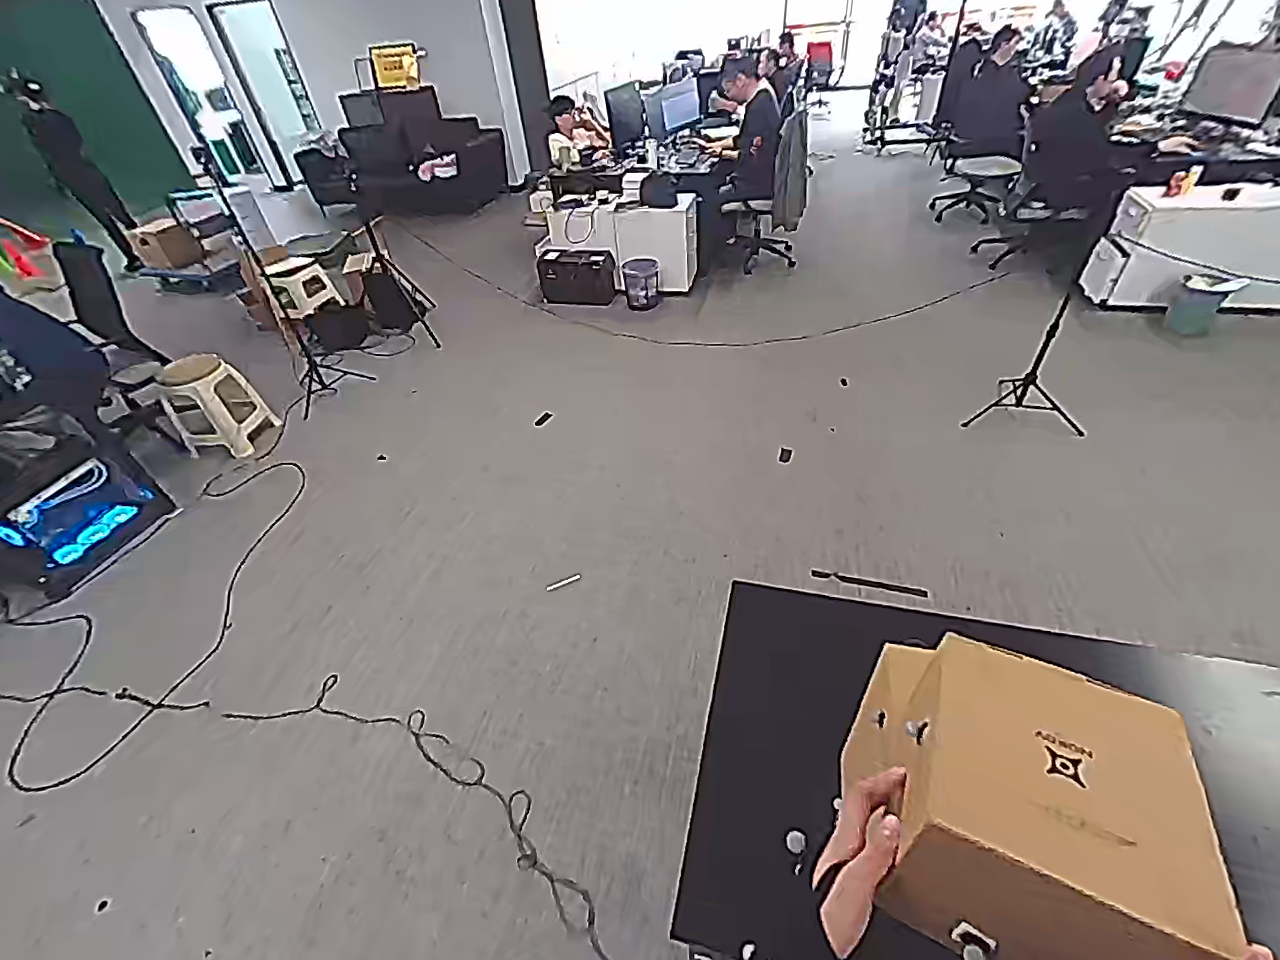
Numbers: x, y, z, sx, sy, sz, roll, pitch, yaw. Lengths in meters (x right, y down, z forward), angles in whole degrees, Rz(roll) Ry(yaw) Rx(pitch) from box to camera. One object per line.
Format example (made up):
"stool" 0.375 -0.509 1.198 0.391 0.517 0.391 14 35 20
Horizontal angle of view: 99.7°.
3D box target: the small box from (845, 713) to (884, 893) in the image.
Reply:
"small box" 0.374 0.447 0.723 0.168 0.176 0.179 6 43 13

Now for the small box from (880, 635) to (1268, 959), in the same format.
"small box" 0.302 0.264 0.421 0.168 0.176 0.179 18 40 23

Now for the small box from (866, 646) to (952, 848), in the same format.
"small box" 0.362 0.322 0.616 0.168 0.176 0.179 6 42 14
